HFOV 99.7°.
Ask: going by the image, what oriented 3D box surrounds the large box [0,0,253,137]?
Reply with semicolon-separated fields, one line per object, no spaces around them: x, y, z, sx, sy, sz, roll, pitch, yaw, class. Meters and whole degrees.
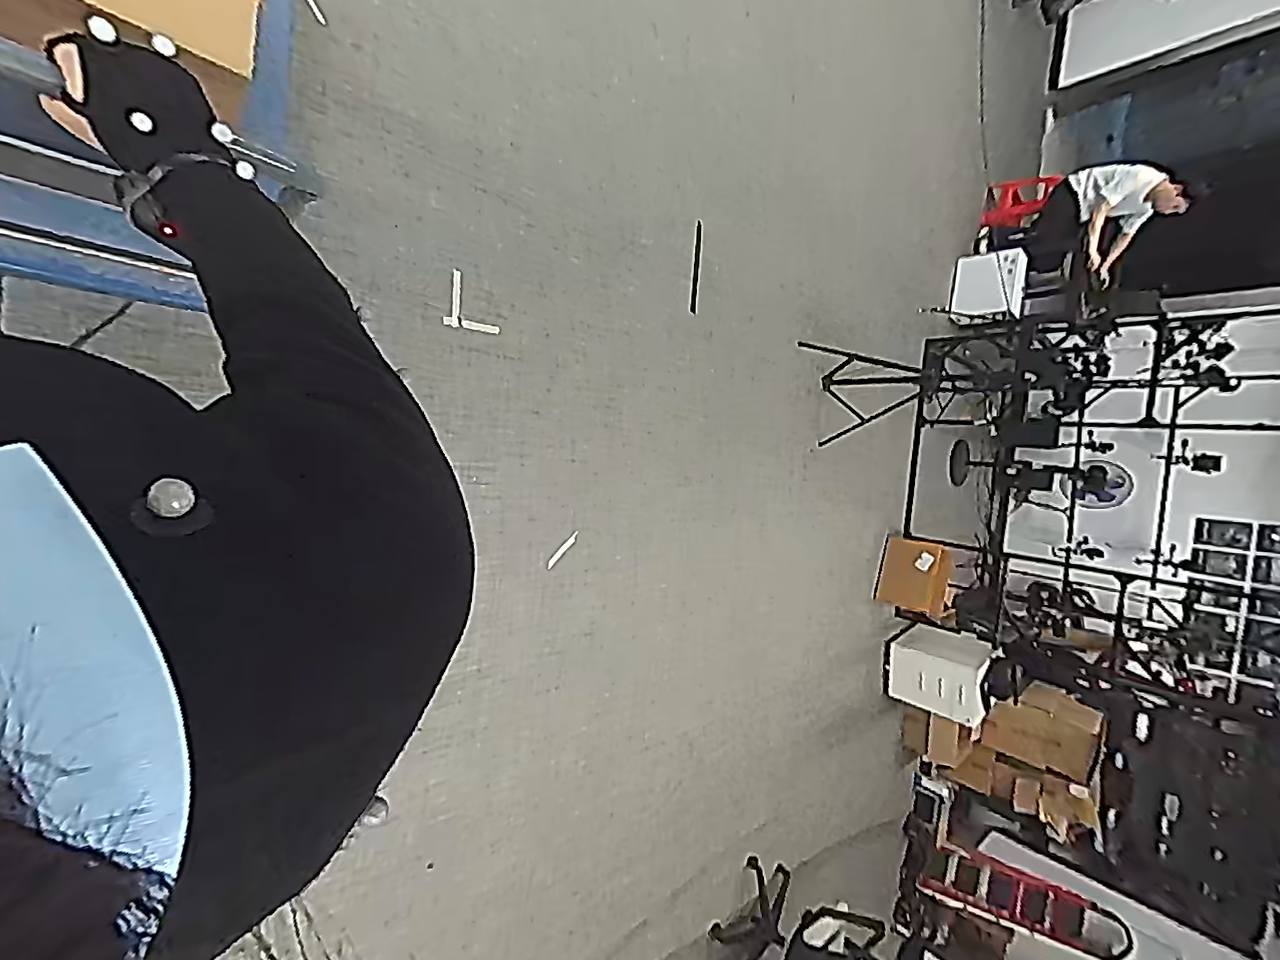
-0.824;-0.796;0.792;0.408;0.320;0.320;5;92;-42;large box
